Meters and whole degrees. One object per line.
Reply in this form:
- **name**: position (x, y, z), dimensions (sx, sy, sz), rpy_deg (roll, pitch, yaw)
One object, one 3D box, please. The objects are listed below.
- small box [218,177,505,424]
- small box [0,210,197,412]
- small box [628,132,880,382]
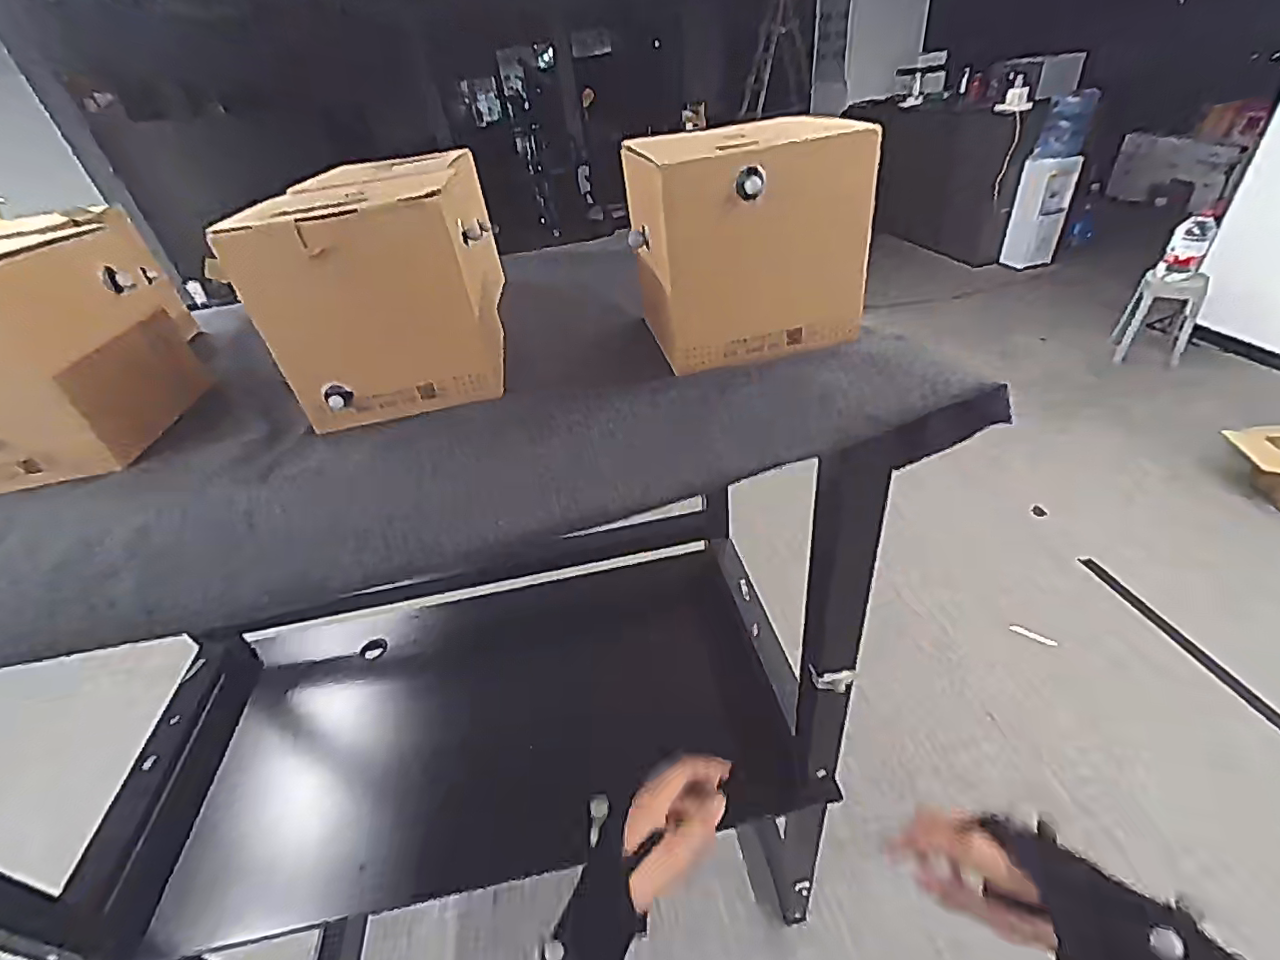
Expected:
- **small box**: position (-0.227, -0.164, 0.501), dimensions (0.168, 0.176, 0.179), rpy_deg (-12, 36, -6)
- **small box**: position (-0.684, -0.200, 0.636), dimensions (0.179, 0.176, 0.168), rpy_deg (-13, 37, -7)
- **small box**: position (0.090, -0.209, 0.498), dimensions (0.168, 0.176, 0.179), rpy_deg (-12, 36, -4)
